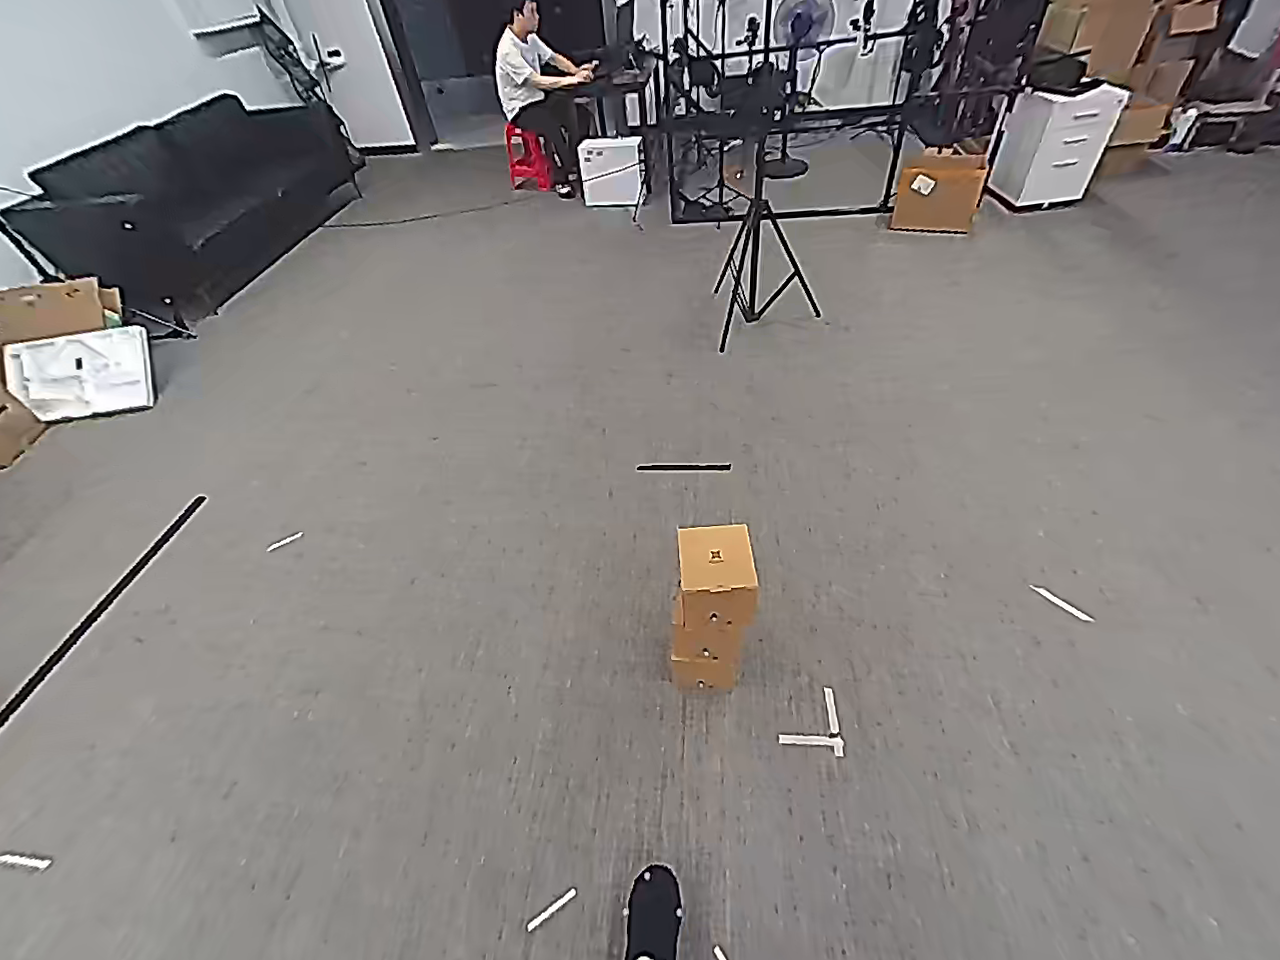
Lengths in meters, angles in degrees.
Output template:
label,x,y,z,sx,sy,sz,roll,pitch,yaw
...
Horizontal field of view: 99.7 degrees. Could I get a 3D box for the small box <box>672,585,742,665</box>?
label,x,y,z,sx,sy,sz,roll,pitch,yaw
small box,0.178,0.345,1.382,0.168,0.176,0.179,3,47,12

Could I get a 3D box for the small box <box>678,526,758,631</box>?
label,x,y,z,sx,sy,sz,roll,pitch,yaw
small box,0.175,0.231,1.265,0.168,0.176,0.179,-5,46,3
